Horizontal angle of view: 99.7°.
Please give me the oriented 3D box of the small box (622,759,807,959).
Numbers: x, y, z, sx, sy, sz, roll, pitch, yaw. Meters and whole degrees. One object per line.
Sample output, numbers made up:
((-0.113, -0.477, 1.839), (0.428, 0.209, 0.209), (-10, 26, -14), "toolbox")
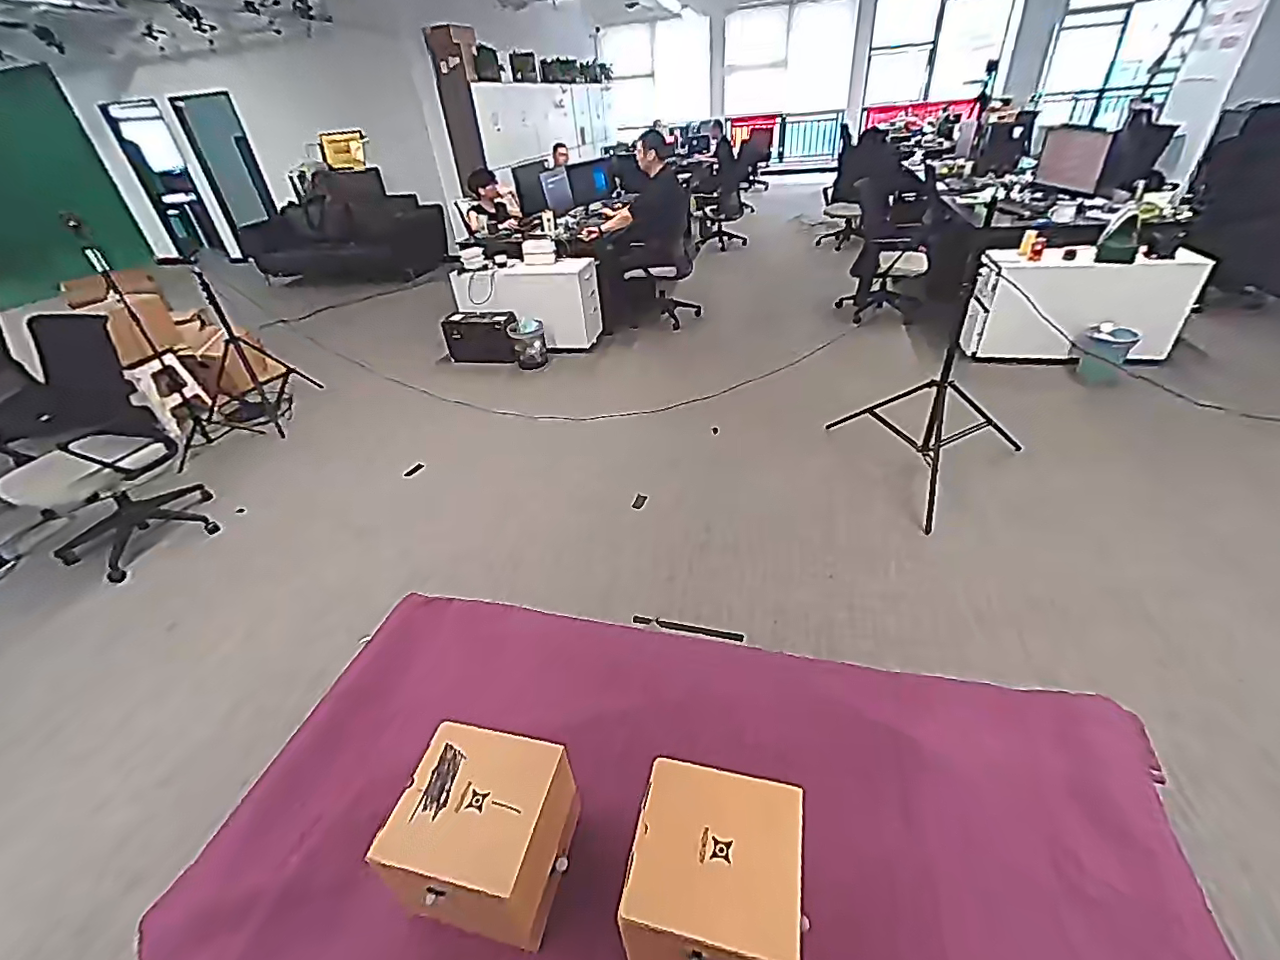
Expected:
((0.092, 0.457, 0.619), (0.179, 0.176, 0.168), (4, 36, 15), "small box")

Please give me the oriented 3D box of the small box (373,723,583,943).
((-0.186, 0.440, 0.680), (0.179, 0.176, 0.168), (5, 36, 13), "small box")
